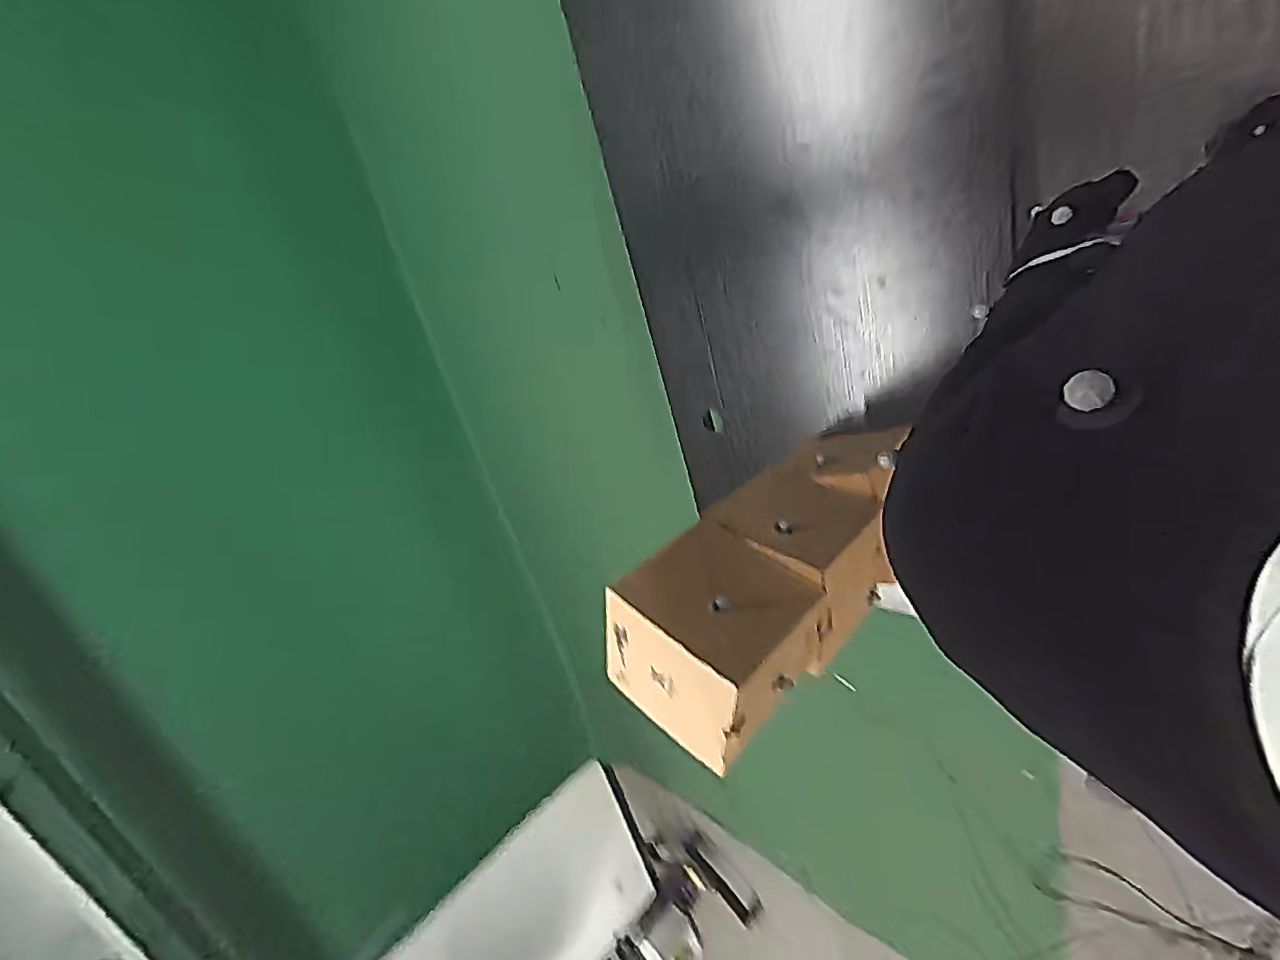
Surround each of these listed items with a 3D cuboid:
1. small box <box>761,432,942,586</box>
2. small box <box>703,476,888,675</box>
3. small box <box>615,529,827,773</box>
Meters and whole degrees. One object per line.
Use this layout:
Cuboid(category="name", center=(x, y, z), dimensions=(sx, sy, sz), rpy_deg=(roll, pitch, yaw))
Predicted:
Cuboid(category="small box", center=(0.320, 0.040, 0.814), dimensions=(0.179, 0.176, 0.168), rpy_deg=(-7, 109, 51))
Cuboid(category="small box", center=(0.207, 0.112, 0.719), dimensions=(0.179, 0.176, 0.168), rpy_deg=(20, 129, 41))
Cuboid(category="small box", center=(0.090, 0.183, 0.627), dimensions=(0.179, 0.176, 0.168), rpy_deg=(29, 133, 33))
